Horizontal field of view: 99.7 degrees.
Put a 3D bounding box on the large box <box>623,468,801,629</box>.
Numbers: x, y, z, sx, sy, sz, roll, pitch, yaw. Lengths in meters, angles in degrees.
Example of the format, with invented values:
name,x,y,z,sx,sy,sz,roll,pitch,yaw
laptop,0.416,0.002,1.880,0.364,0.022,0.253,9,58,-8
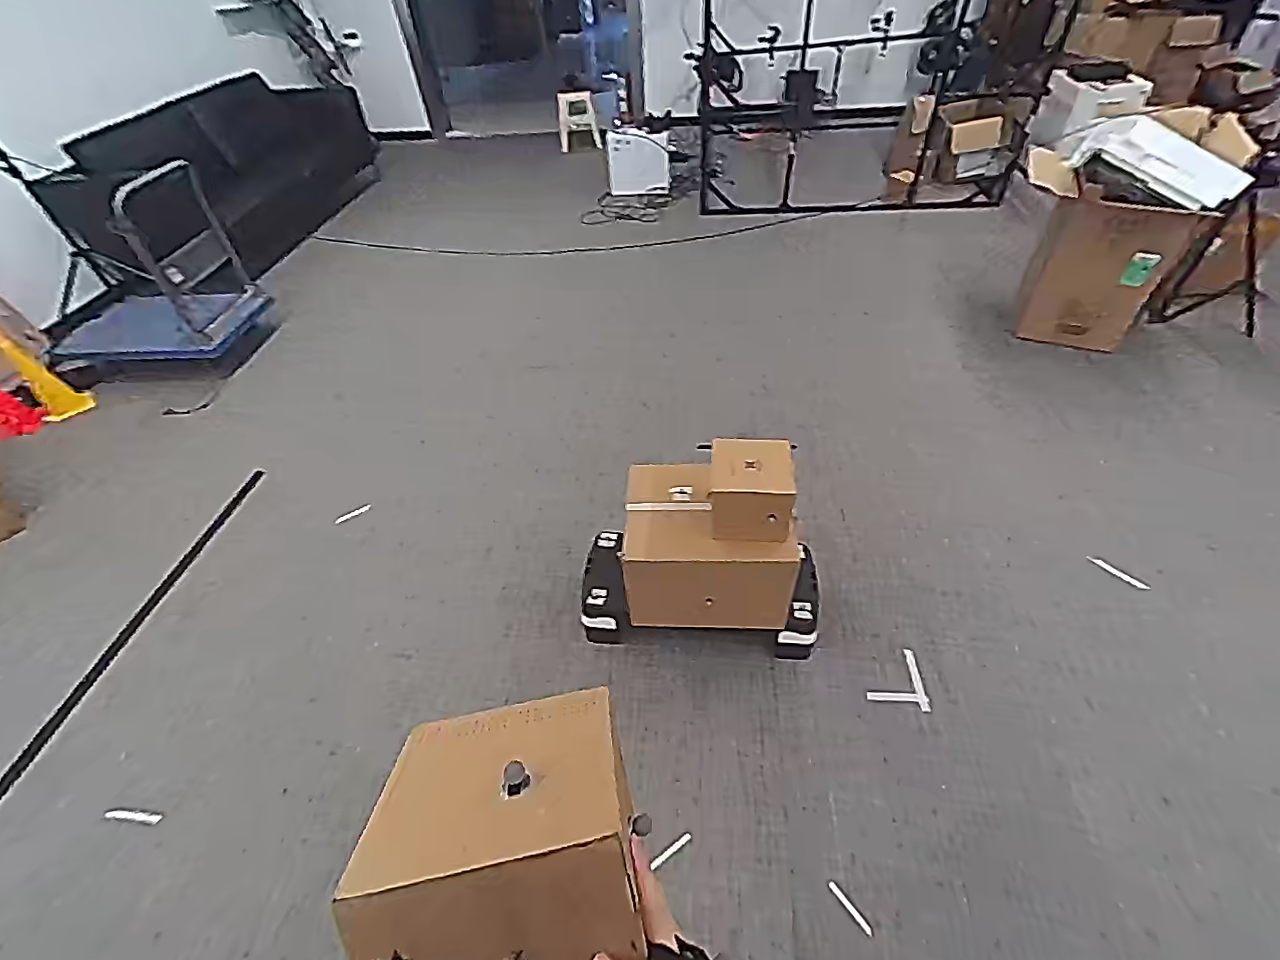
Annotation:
name,x,y,z,sx,sy,sz,roll,pitch,yaw
large box,0.178,0.181,1.419,0.408,0.320,0.320,-1,45,5

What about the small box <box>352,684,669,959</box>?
name,x,y,z,sx,sy,sz,roll,pitch,yaw
small box,-0.082,0.282,0.414,0.179,0.168,0.176,-10,10,-5

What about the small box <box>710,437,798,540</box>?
name,x,y,z,sx,sy,sz,roll,pitch,yaw
small box,0.251,0.022,1.224,0.179,0.176,0.168,2,47,8
